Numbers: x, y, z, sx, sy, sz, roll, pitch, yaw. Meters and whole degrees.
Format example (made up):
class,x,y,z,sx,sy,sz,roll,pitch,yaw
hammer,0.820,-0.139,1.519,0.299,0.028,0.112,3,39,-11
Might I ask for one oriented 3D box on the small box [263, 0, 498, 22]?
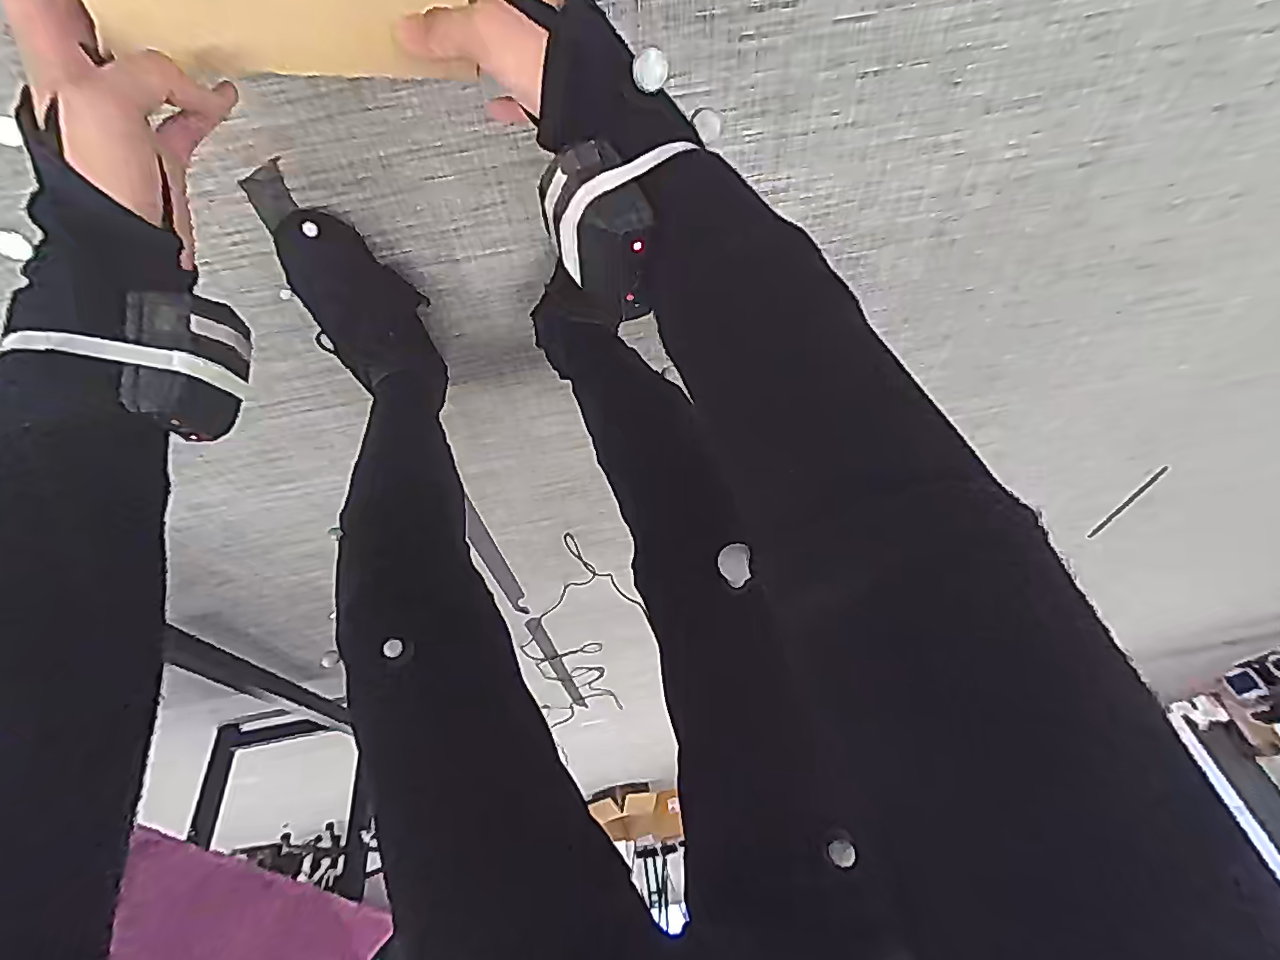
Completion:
class,x,y,z,sx,sy,sz,roll,pitch,yaw
small box,-0.194,-0.451,0.371,0.168,0.176,0.179,-8,143,-5
